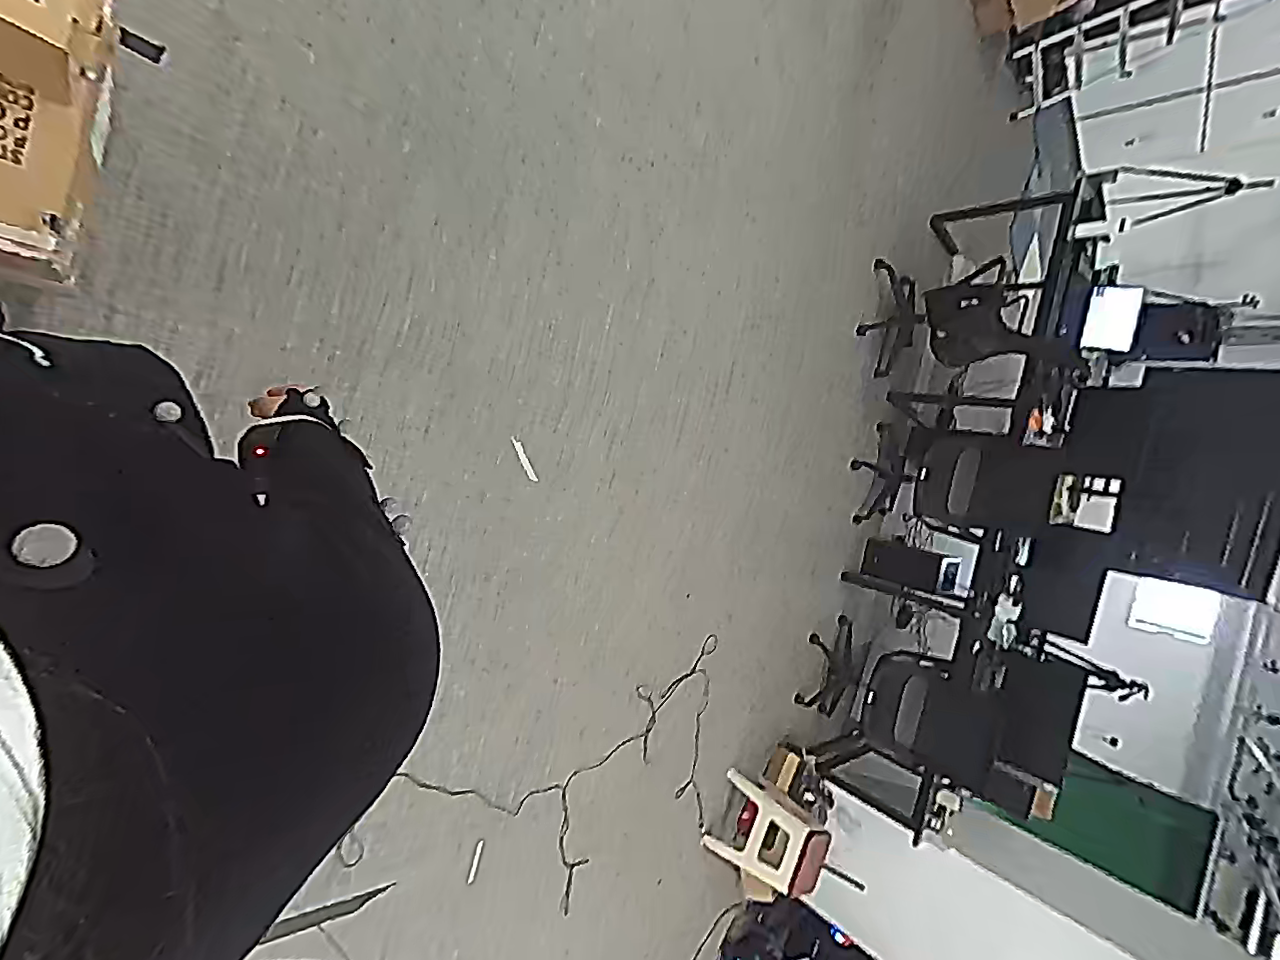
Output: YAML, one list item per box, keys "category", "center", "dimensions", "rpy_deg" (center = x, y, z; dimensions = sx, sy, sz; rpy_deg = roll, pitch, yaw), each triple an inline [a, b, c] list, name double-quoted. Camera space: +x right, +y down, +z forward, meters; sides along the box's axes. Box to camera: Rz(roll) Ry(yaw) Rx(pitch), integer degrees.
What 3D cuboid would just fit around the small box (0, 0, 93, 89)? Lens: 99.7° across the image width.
- category: "small box"
  center: [-0.612, -0.490, 0.478]
  dimensions: [0.179, 0.176, 0.168]
  rpy_deg: [14, 91, -46]
